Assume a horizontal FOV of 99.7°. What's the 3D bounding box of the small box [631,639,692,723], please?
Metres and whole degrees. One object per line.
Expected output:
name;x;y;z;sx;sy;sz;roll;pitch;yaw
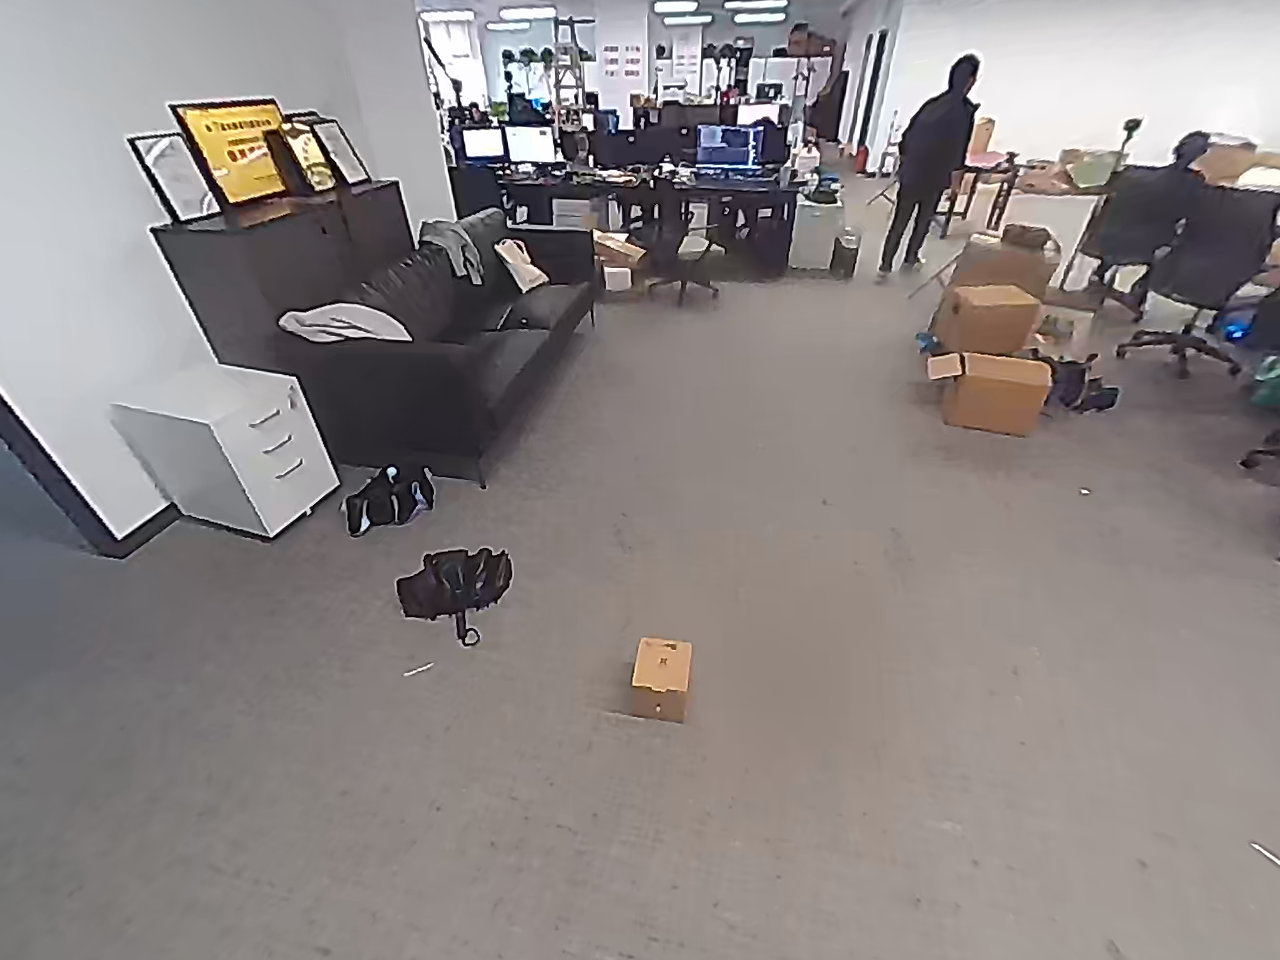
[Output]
small box;0.070;0.623;1.668;0.168;0.176;0.179;5;37;8
